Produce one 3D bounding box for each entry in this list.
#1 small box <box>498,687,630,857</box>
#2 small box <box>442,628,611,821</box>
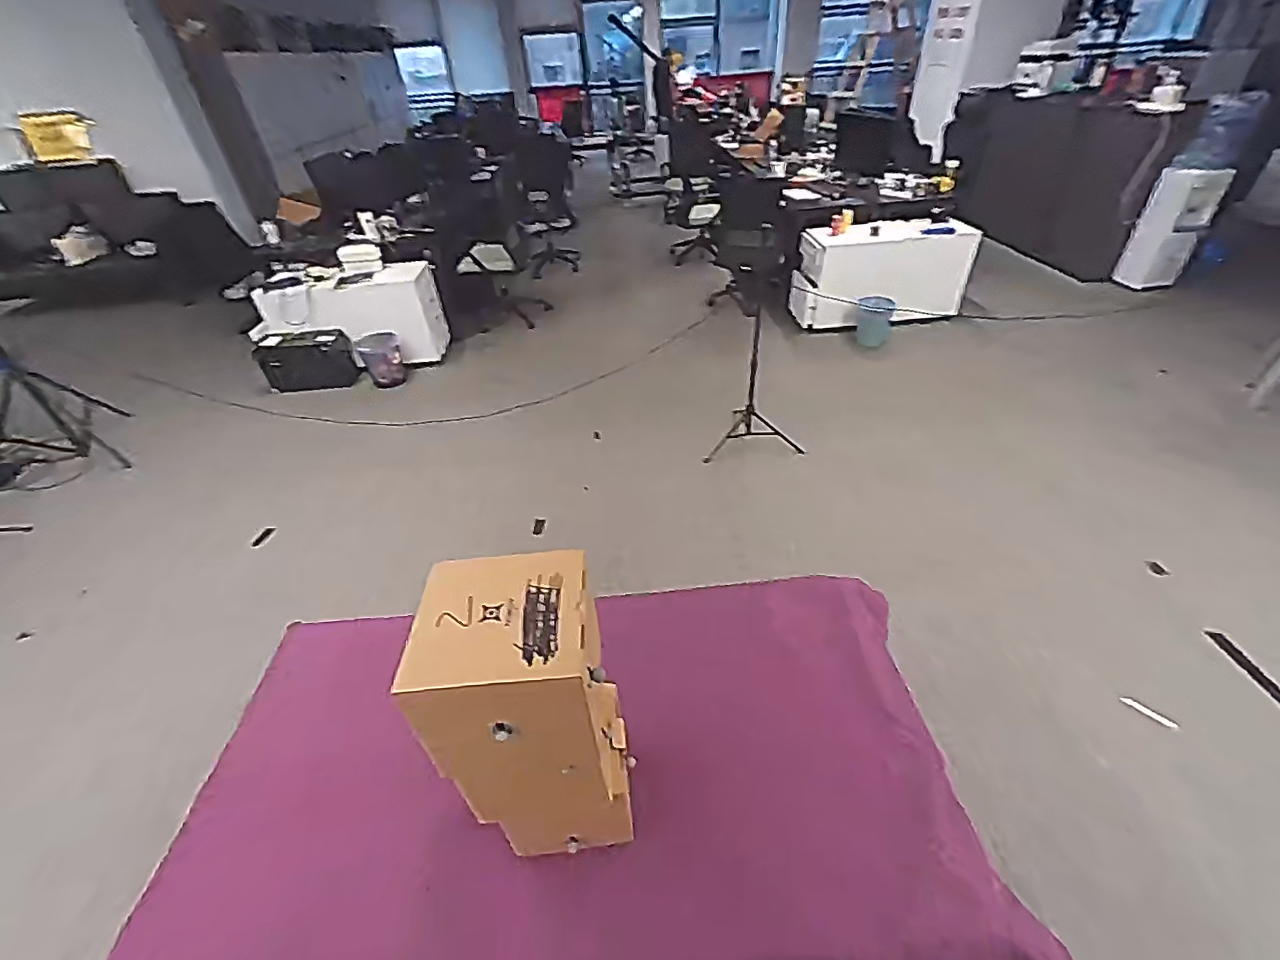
[{"bbox_3d":[-0.108,0.441,0.820,0.179,0.176,0.168,-6,37,-3],"label":"small box"},{"bbox_3d":[-0.136,0.321,0.711,0.179,0.176,0.168,-6,38,-3],"label":"small box"}]
